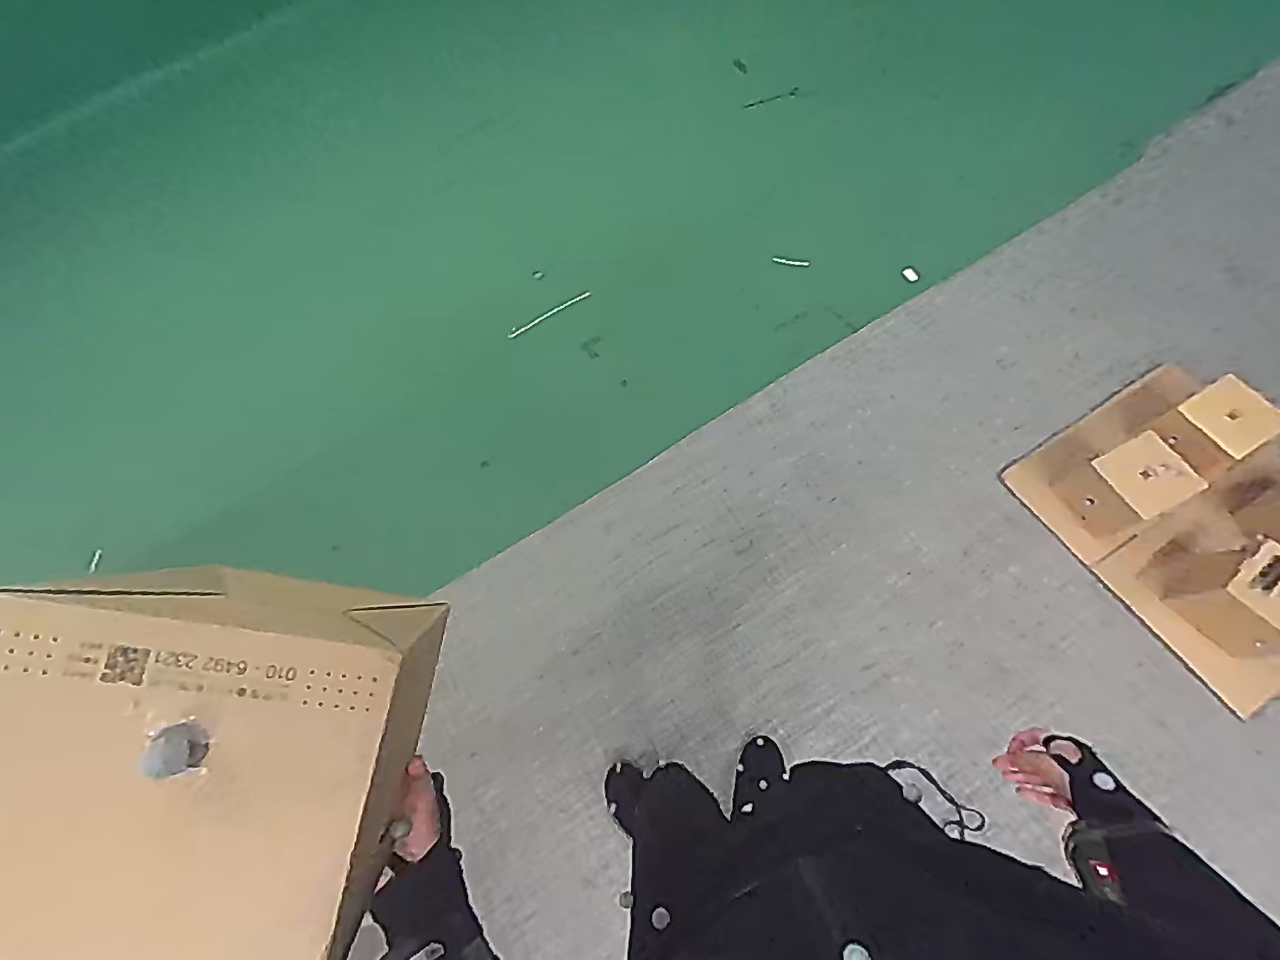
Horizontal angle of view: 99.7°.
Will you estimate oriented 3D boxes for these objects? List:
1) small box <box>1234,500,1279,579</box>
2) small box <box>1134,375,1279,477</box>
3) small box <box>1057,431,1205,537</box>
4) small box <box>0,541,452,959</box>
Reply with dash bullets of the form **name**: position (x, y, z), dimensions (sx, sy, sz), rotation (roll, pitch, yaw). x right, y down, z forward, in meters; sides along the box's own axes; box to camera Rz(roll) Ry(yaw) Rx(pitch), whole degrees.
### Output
- **small box**: position (1.533, 0.113, 1.214), dimensions (0.179, 0.176, 0.168), rotation (-14, 67, 1)
- **small box**: position (1.386, -0.118, 1.331), dimensions (0.179, 0.176, 0.168), rotation (-30, 68, -6)
- **small box**: position (1.160, 0.017, 1.302), dimensions (0.179, 0.176, 0.168), rotation (-26, 68, -4)
- **small box**: position (-0.213, 0.131, 0.299), dimensions (0.168, 0.179, 0.176), rotation (13, 81, -11)
